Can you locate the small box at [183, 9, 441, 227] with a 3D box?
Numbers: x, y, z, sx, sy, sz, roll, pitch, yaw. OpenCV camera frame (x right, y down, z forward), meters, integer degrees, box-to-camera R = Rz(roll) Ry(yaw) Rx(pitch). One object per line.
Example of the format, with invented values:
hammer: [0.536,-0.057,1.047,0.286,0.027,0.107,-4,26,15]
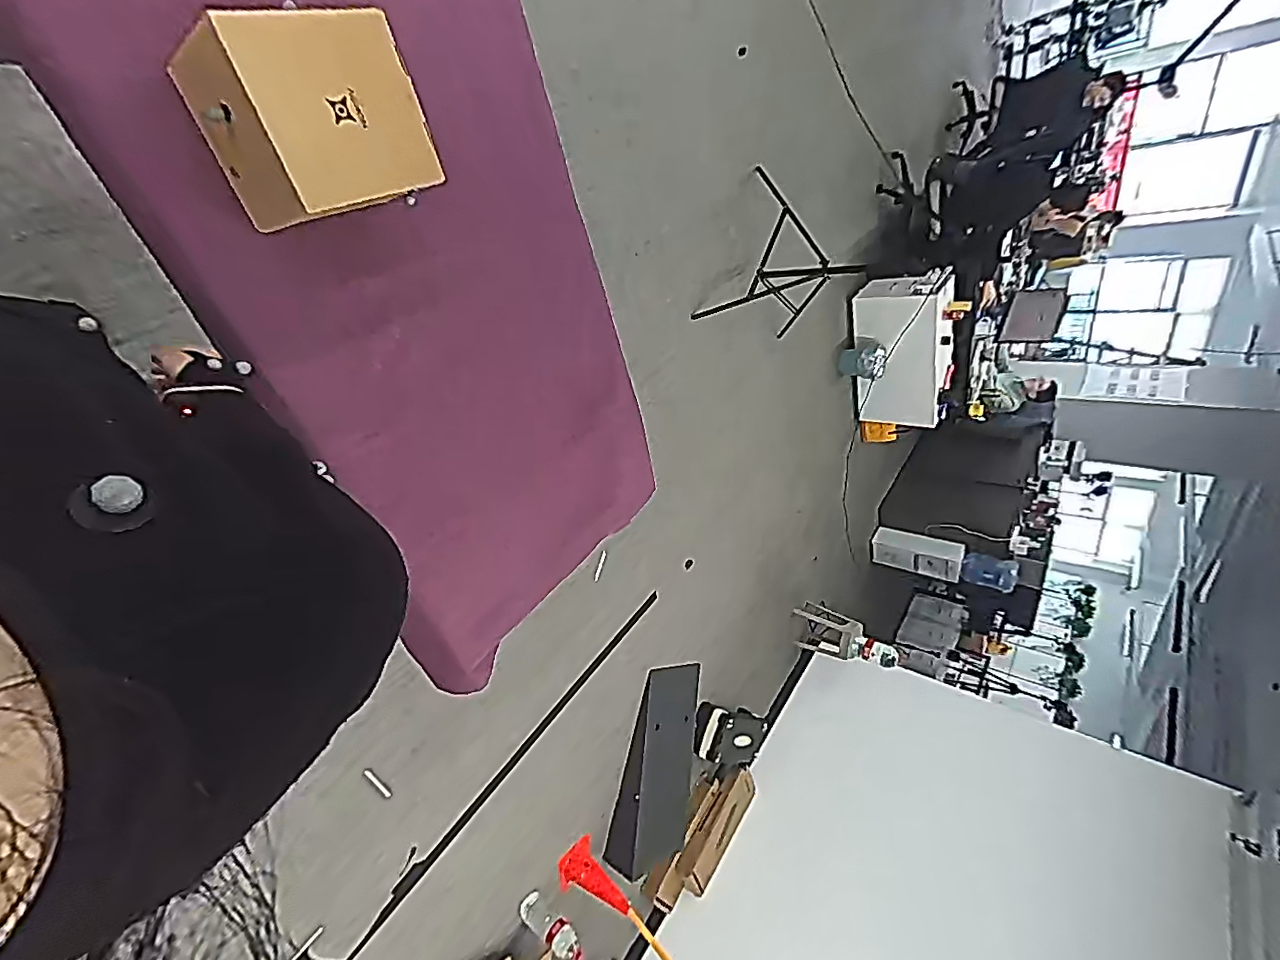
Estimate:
small box: [-0.372,-0.401,0.615,0.179,0.176,0.168,-43,130,-37]
